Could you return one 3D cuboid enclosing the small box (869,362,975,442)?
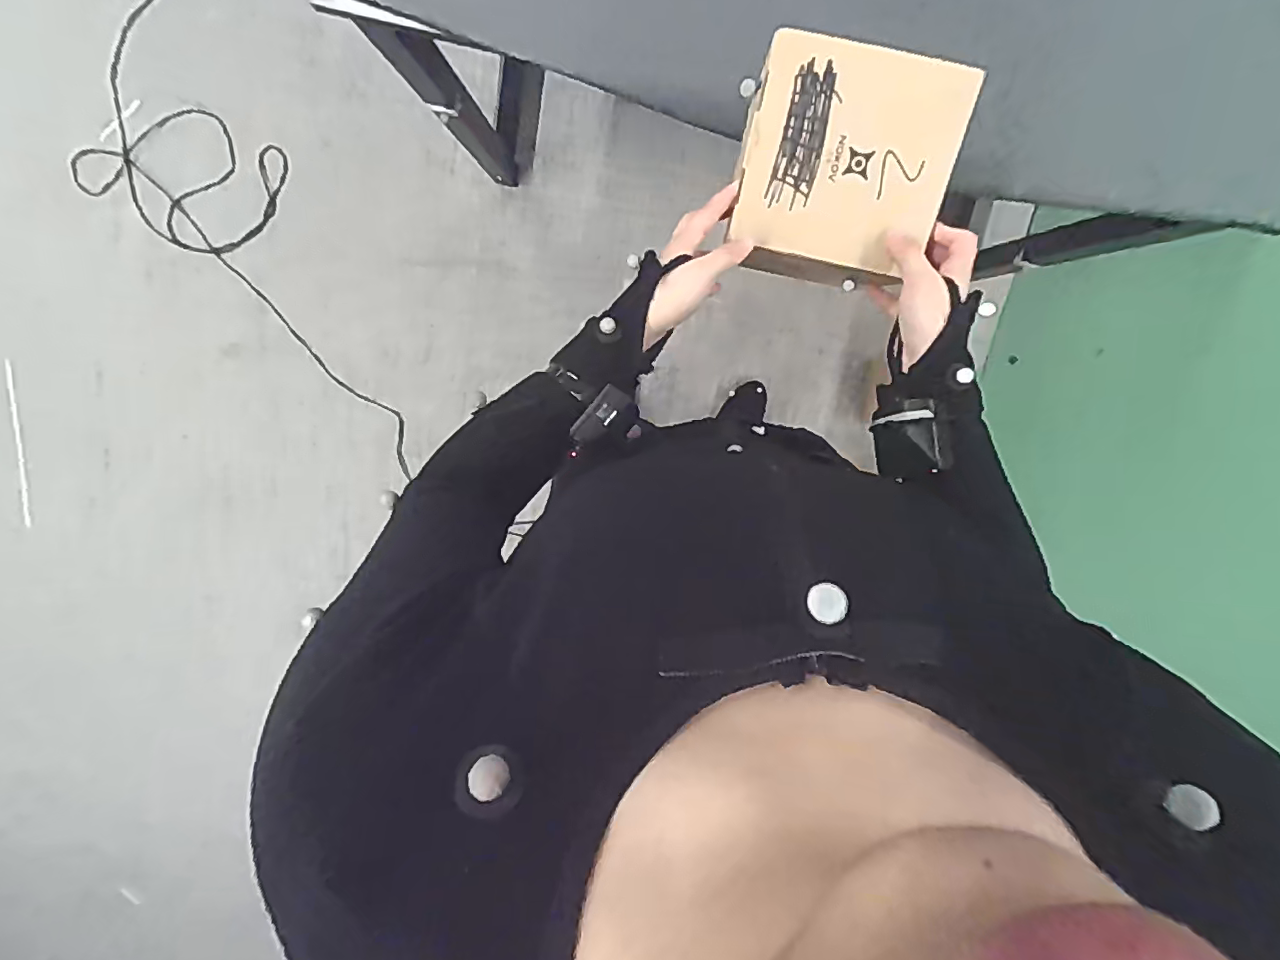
[{"bbox_3d":[0.693,-0.200,1.353,0.168,0.176,0.179,4,104,-1],"label":"small box"}]
